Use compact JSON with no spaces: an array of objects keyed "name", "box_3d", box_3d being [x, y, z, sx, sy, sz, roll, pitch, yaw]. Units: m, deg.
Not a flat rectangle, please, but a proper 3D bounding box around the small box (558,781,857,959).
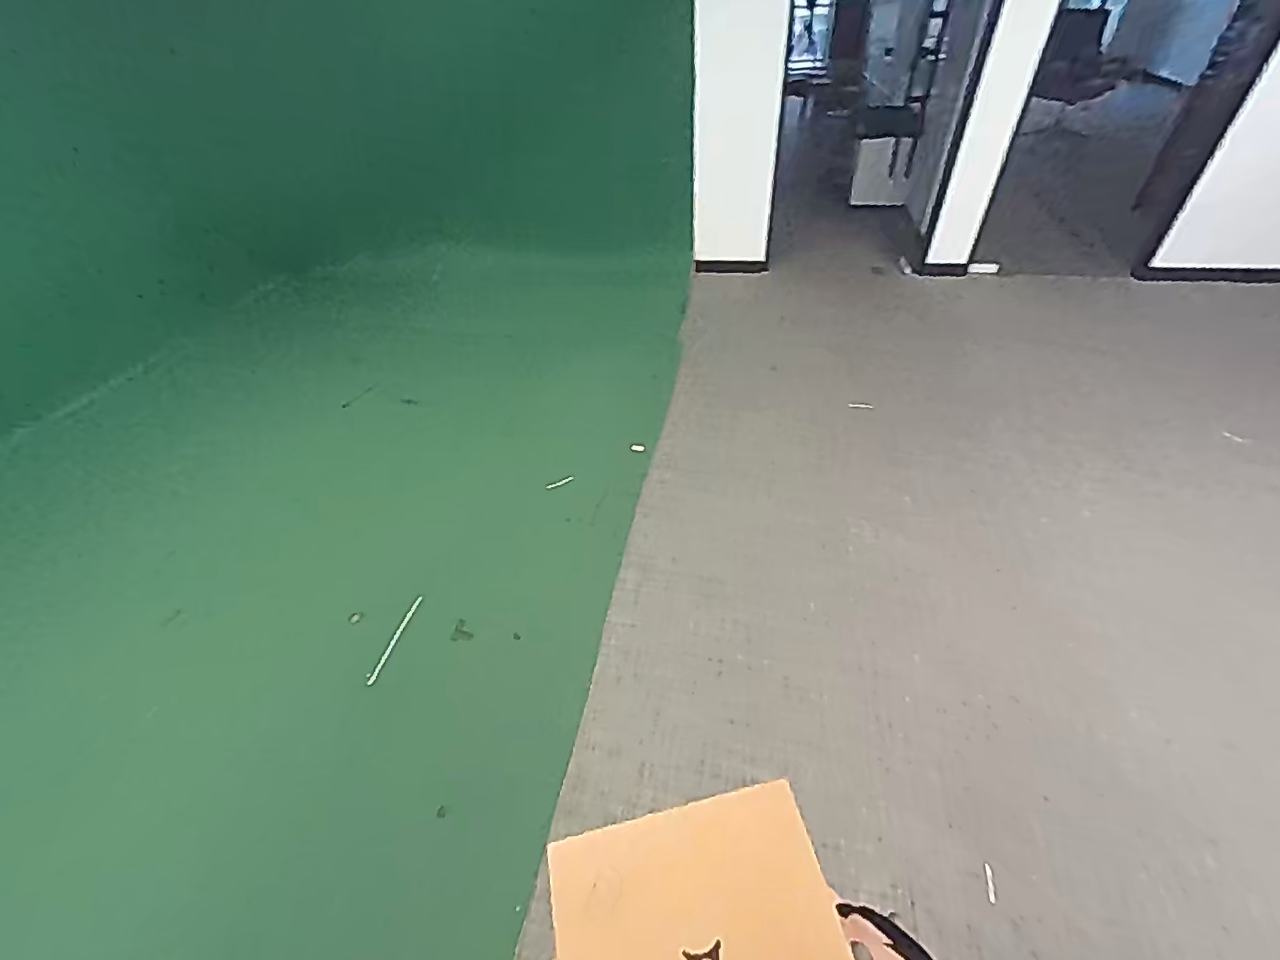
[{"name":"small box","box_3d":[0.045,0.335,0.359,0.168,0.176,0.179,-11,46,-5]}]
